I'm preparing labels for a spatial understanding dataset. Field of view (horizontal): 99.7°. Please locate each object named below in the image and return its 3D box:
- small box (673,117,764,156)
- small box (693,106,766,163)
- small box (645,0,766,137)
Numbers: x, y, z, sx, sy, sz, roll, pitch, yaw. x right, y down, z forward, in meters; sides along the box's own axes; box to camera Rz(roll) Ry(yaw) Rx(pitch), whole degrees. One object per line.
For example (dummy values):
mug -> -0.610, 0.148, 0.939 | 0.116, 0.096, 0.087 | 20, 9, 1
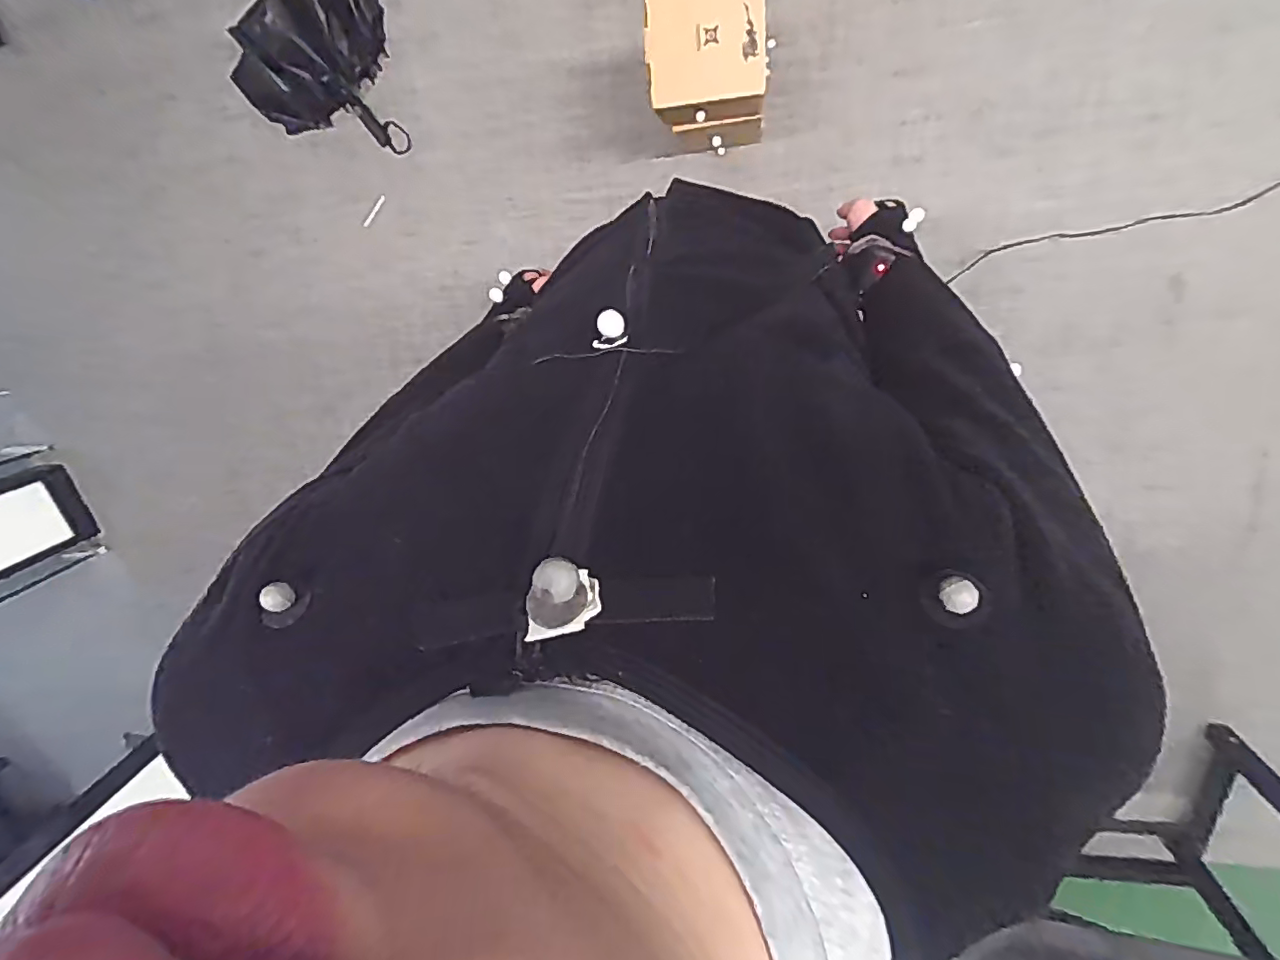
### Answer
small box -> 0.146, -0.734, 1.022 | 0.168, 0.176, 0.179 | -2, 113, 12
small box -> 0.181, -0.805, 1.167 | 0.168, 0.176, 0.179 | -3, 114, 13
small box -> 0.113, -0.671, 0.874 | 0.179, 0.176, 0.168 | 0, 114, 12
